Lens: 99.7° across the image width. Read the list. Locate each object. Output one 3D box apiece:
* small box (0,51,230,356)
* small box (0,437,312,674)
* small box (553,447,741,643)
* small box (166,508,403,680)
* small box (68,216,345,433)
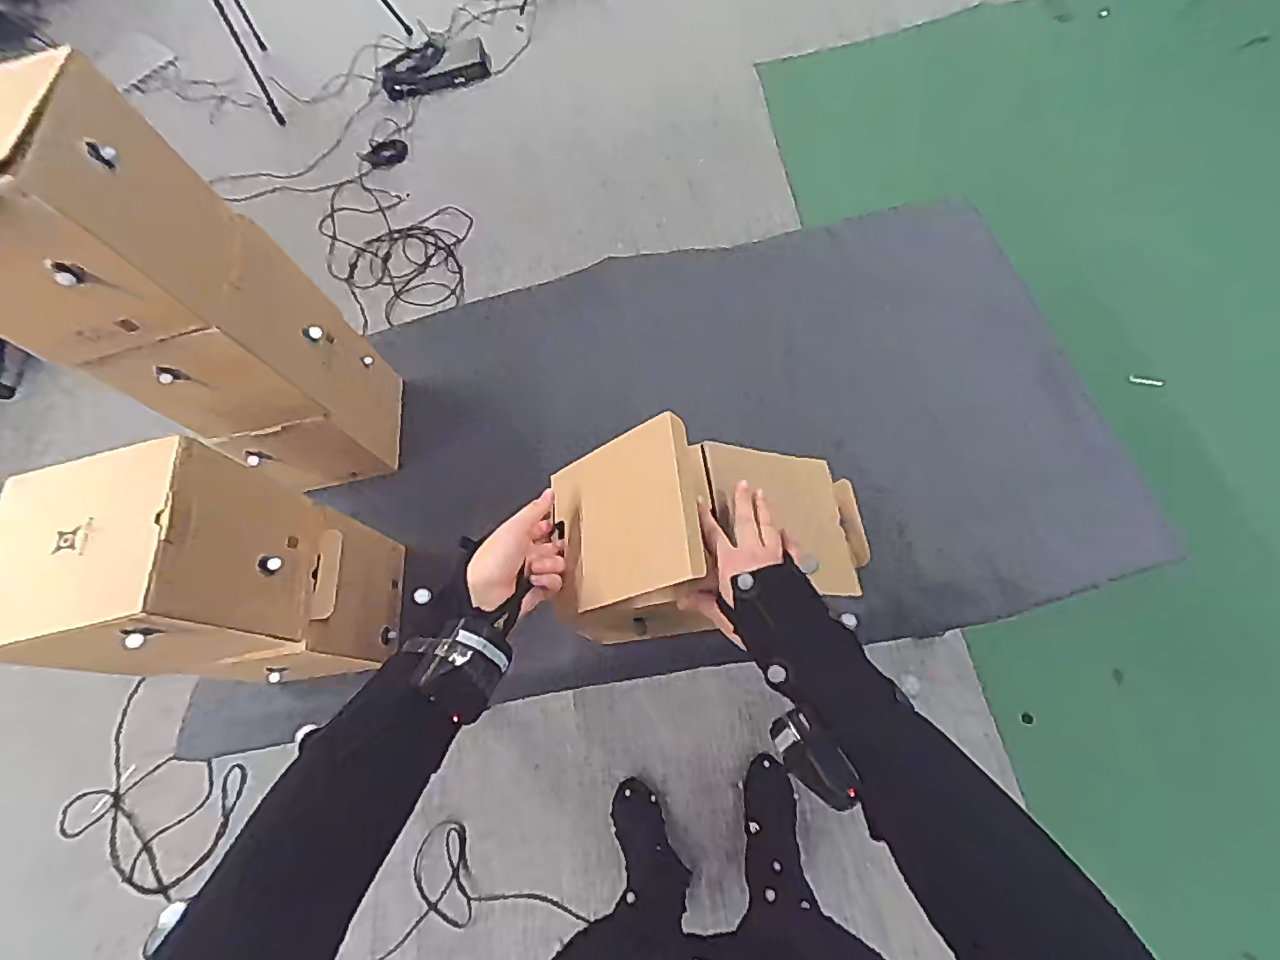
[{"bbox_3d":[-0.524,-0.236,0.498,0.168,0.176,0.179,-14,64,2],"label":"small box"},{"bbox_3d":[-0.461,0.084,0.527,0.179,0.176,0.168,-14,65,3],"label":"small box"},{"bbox_3d":[0.013,0.085,0.621,0.179,0.176,0.168,-10,64,9],"label":"small box"},{"bbox_3d":[-0.419,0.149,0.671,0.179,0.176,0.168,-10,65,6],"label":"small box"},{"bbox_3d":[-0.492,-0.172,0.644,0.179,0.176,0.168,-10,66,5],"label":"small box"}]
